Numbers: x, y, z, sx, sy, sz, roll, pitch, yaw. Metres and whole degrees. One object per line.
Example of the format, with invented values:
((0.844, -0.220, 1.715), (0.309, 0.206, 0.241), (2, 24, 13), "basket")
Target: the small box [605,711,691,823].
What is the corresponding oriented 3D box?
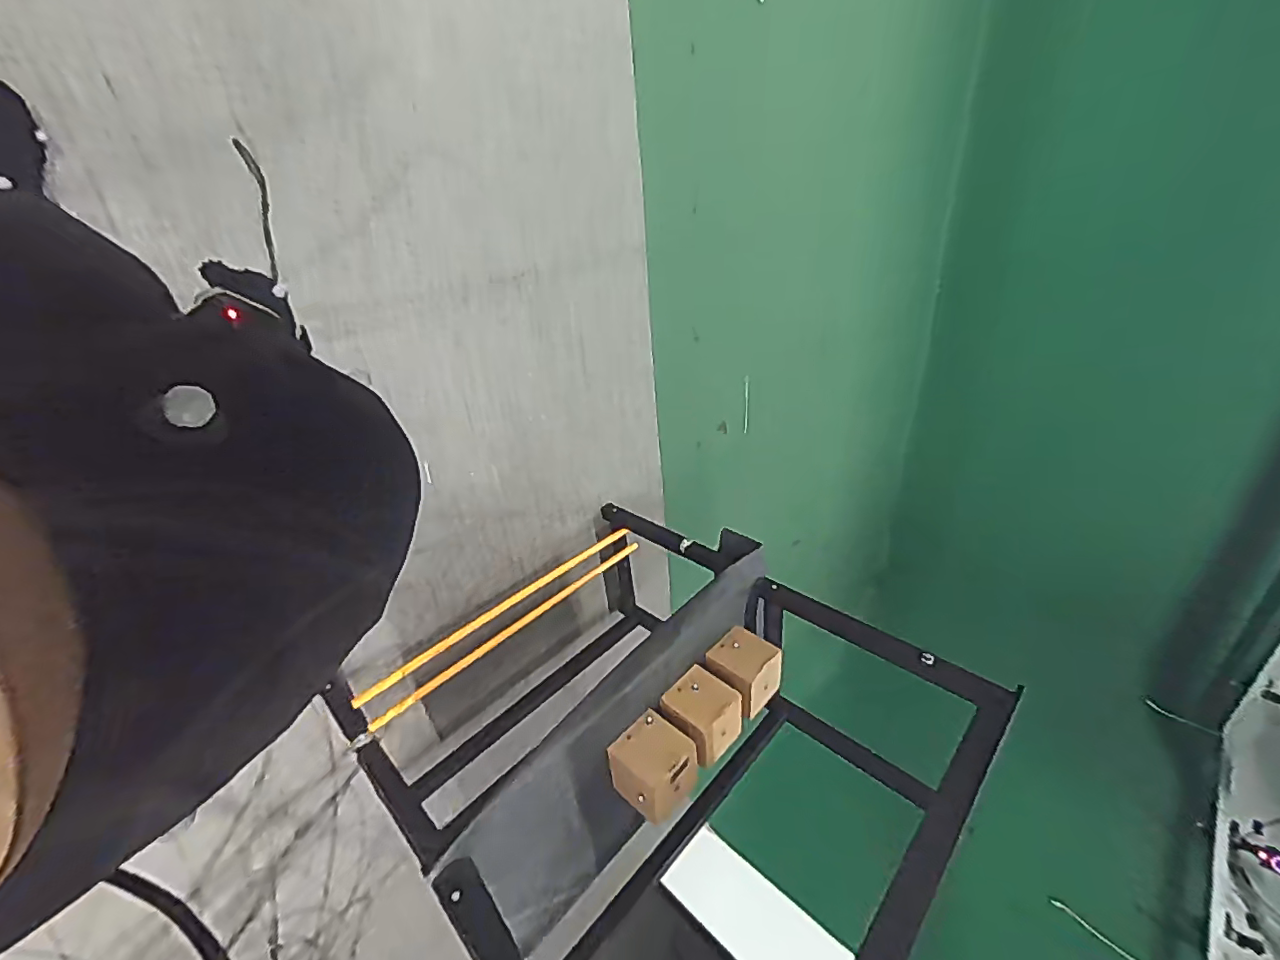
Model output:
((0.020, 0.752, 1.441), (0.168, 0.176, 0.179), (-29, 128, -37), "small box")
